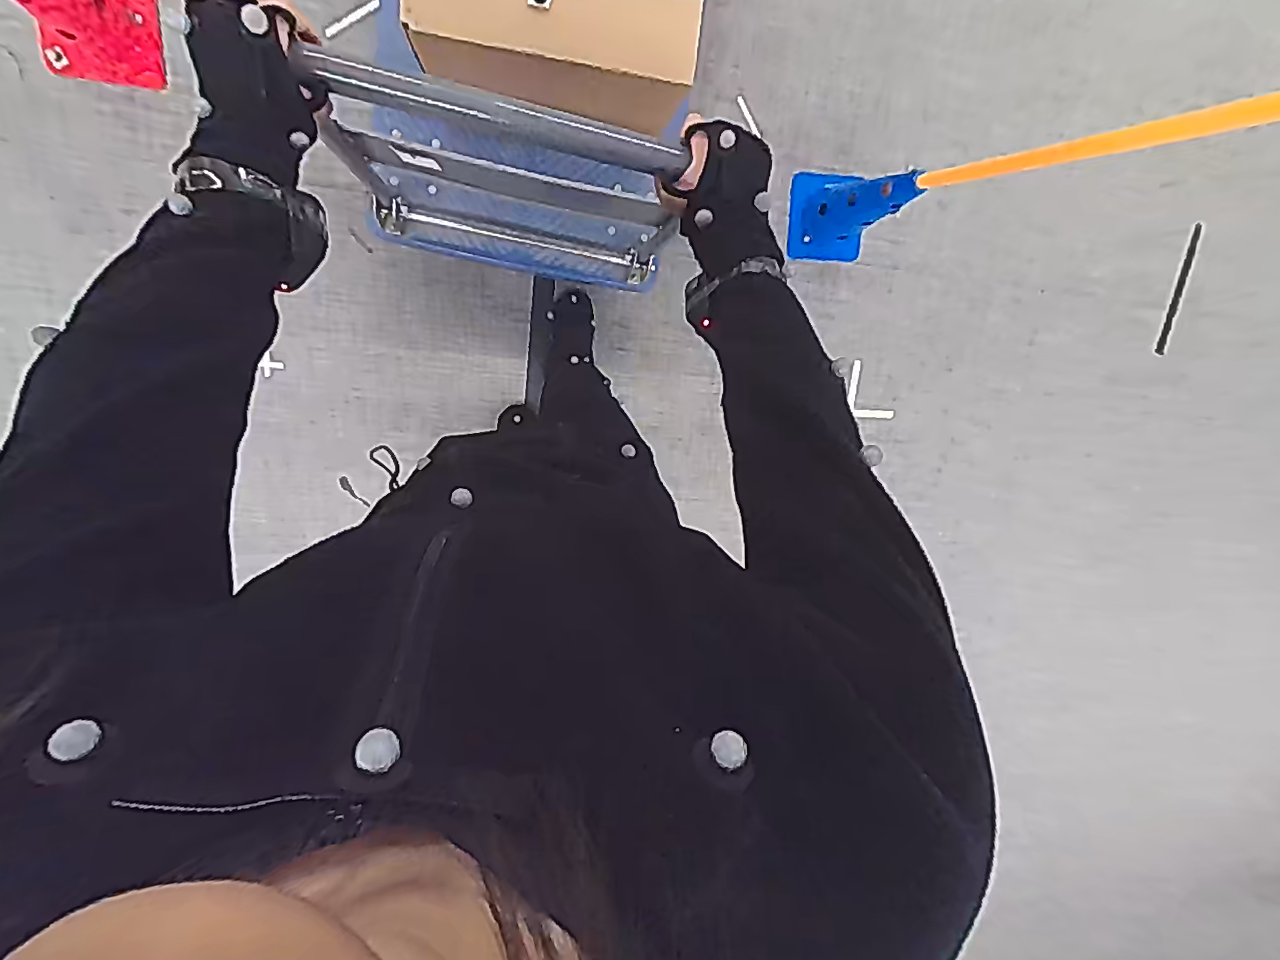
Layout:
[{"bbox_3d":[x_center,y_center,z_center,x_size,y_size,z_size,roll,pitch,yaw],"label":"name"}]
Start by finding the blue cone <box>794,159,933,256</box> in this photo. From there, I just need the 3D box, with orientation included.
[{"bbox_3d":[0.509,-0.627,1.205,0.193,0.380,0.192,0,104,-11],"label":"blue cone"}]
